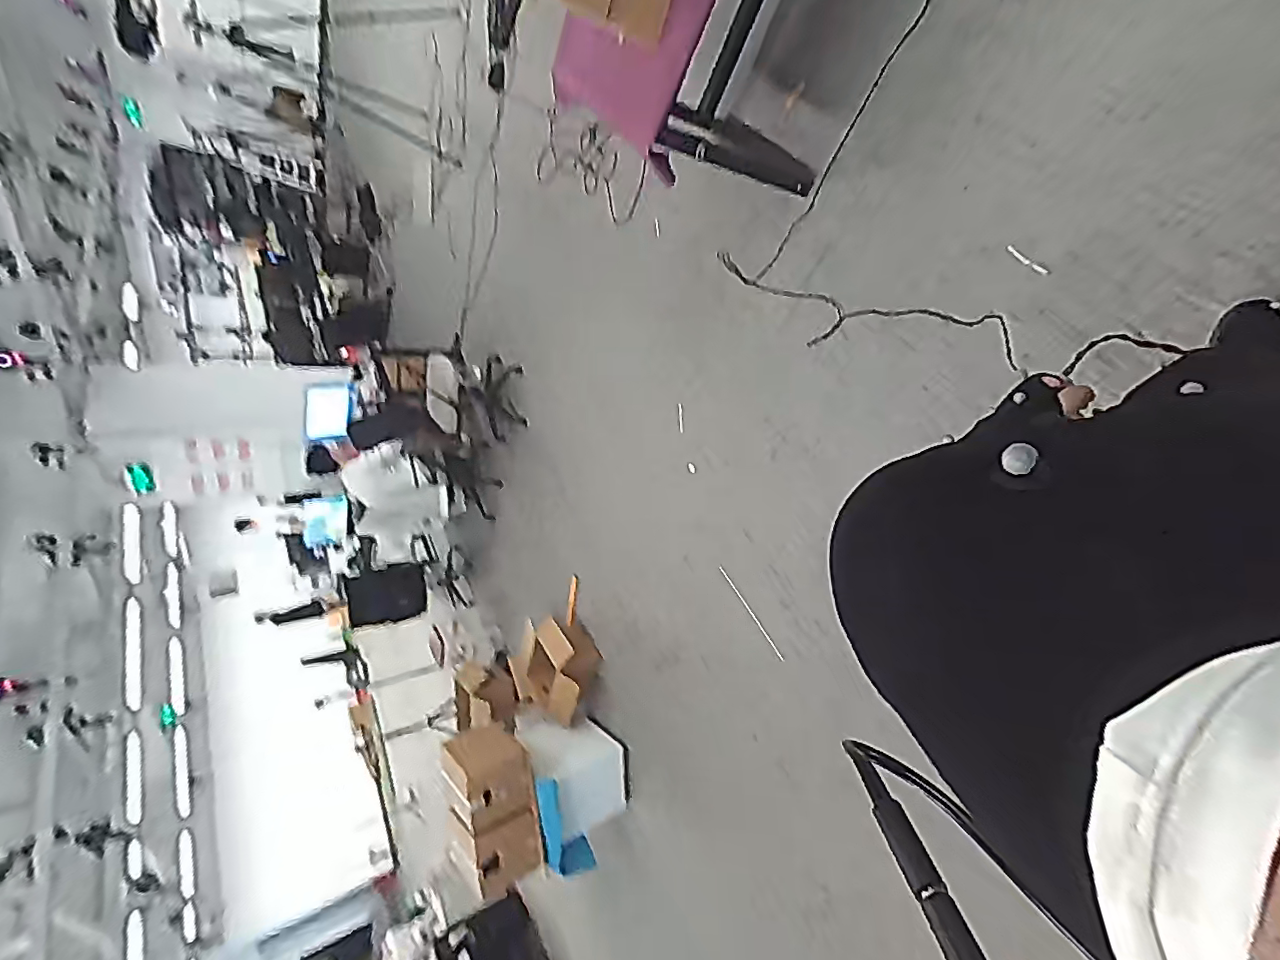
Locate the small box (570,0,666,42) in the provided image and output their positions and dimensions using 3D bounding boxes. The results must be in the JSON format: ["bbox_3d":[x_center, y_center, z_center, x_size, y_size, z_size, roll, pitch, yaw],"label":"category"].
[{"bbox_3d":[-0.038,-1.194,1.289,0.168,0.176,0.179,53,135,33],"label":"small box"}]
